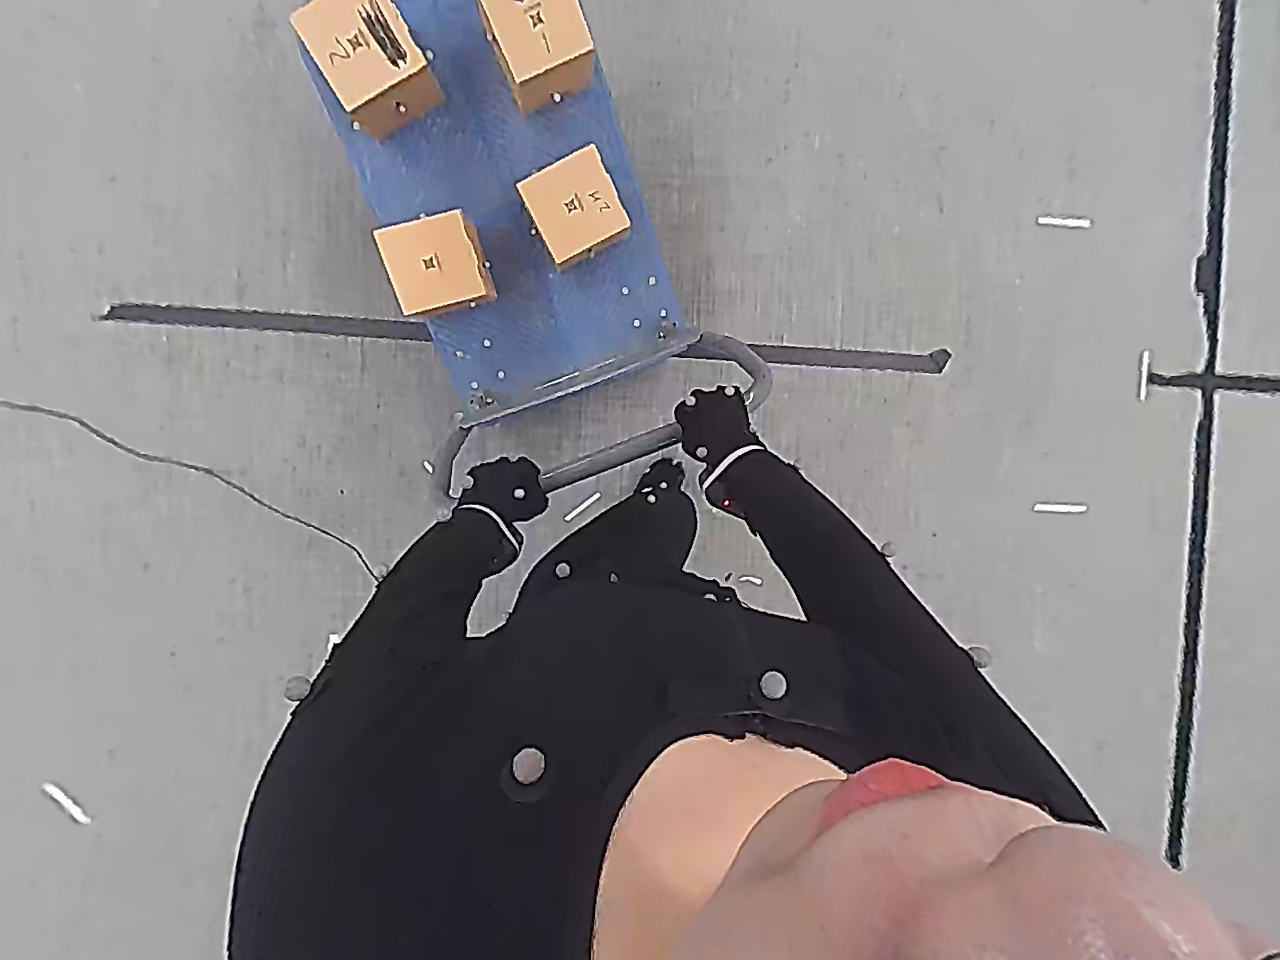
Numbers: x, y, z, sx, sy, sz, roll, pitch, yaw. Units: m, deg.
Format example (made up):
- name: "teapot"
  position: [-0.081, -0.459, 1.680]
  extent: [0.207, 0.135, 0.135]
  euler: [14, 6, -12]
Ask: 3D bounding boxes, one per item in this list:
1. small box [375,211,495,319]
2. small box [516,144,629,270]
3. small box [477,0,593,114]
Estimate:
- name: "small box"
  position: [-0.425, -0.448, 1.152]
  extent: [0.179, 0.176, 0.168]
  euler: [-18, 107, -4]
- name: "small box"
  position: [-0.141, -0.569, 1.154]
  extent: [0.179, 0.176, 0.168]
  euler: [-28, 107, 1]
- name: "small box"
  position: [-0.206, -0.870, 1.063]
  extent: [0.168, 0.176, 0.179]
  euler: [-25, 108, 0]
